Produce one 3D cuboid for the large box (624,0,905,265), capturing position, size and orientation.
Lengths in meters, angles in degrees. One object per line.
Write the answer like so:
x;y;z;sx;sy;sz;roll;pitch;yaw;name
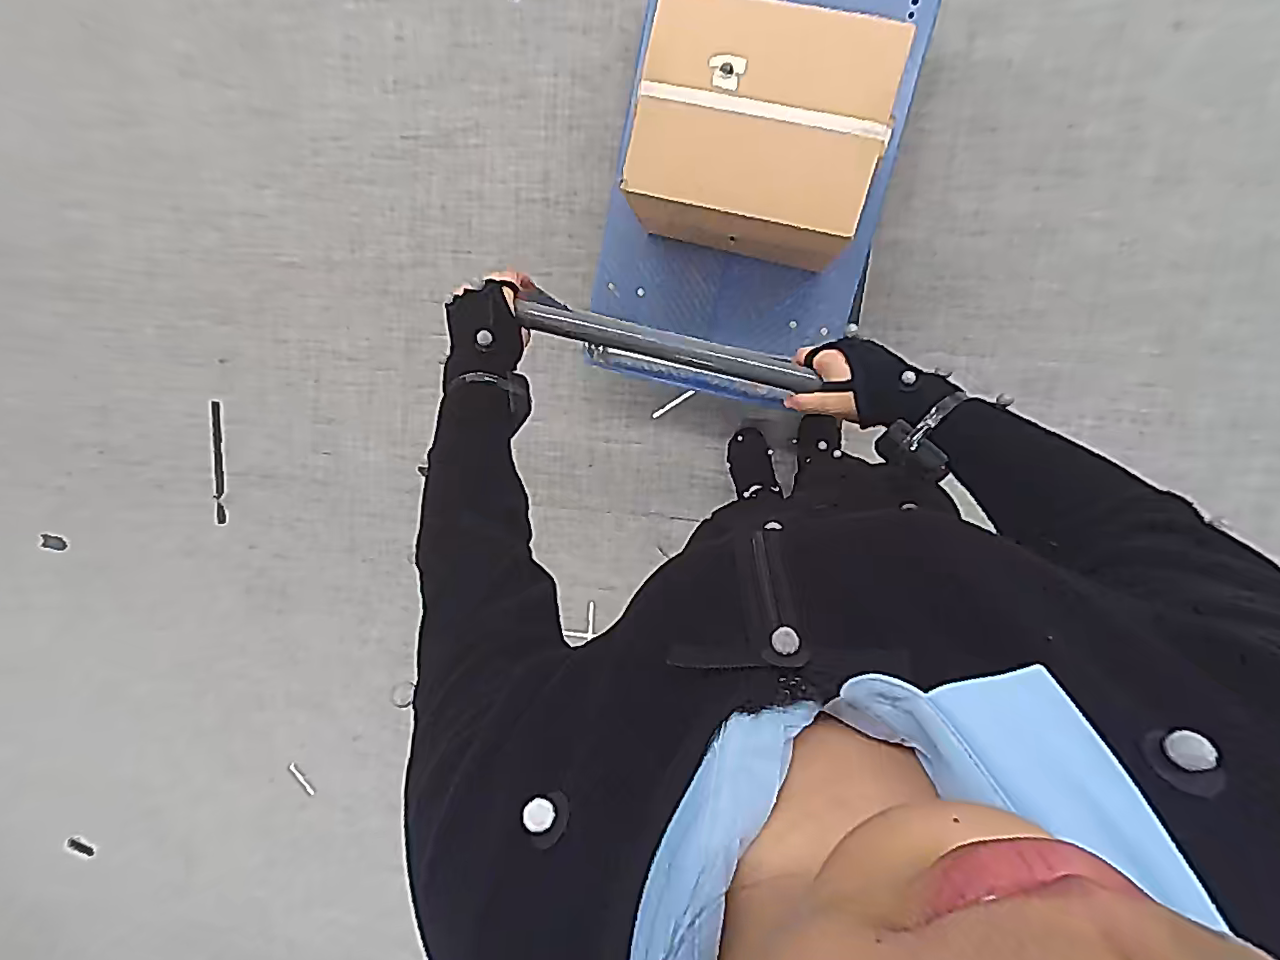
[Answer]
0.220;-0.632;1.041;0.408;0.320;0.320;15;102;7;large box
